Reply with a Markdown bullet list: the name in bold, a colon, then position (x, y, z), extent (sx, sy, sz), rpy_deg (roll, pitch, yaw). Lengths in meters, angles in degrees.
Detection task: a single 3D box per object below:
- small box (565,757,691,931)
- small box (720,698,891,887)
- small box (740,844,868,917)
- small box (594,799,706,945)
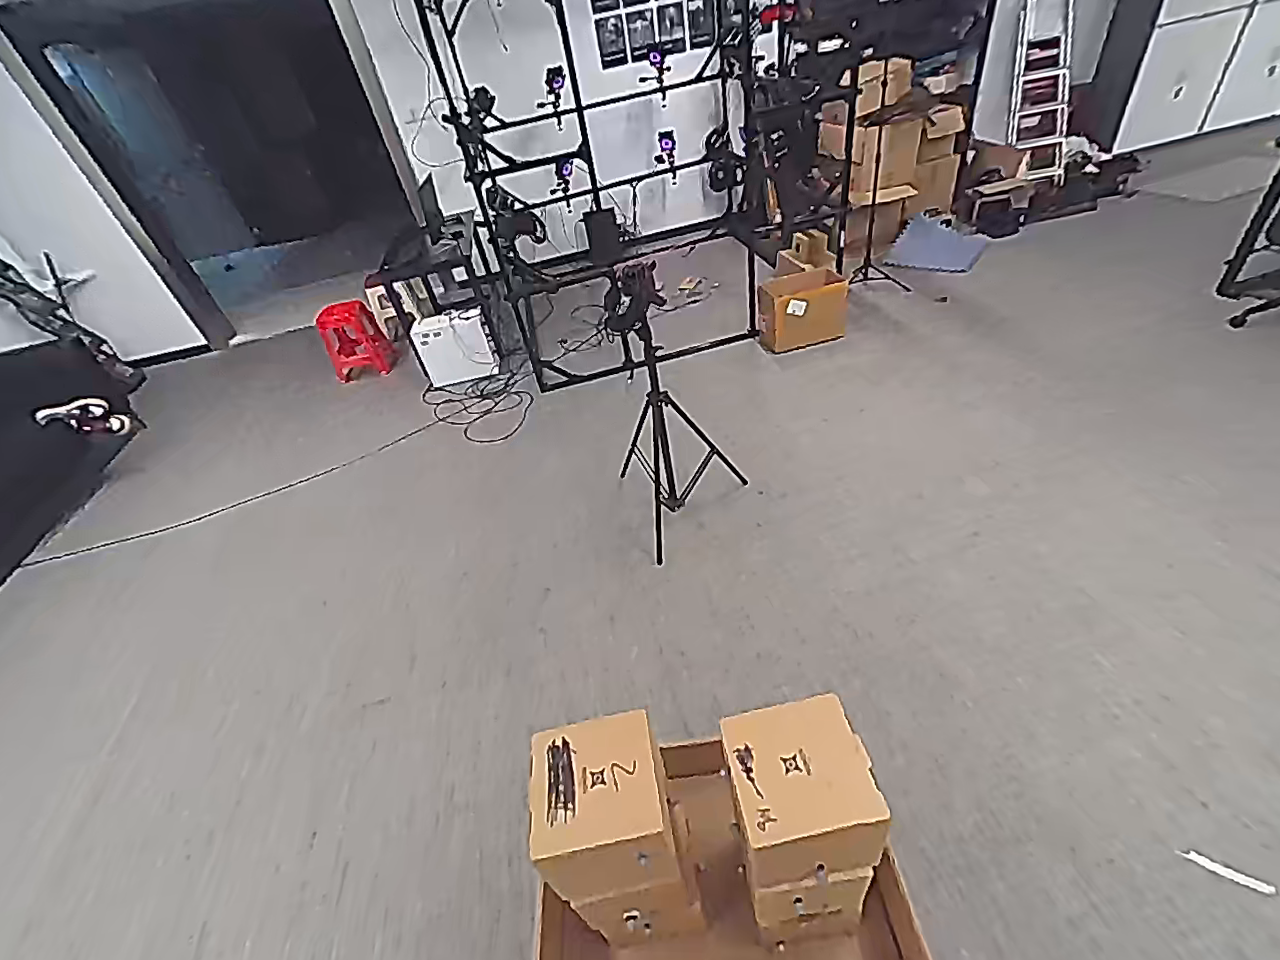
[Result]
- **small box**: position (-0.021, 0.593, 0.883), extent (0.168, 0.176, 0.179), rpy_deg (-14, 39, 0)
- **small box**: position (0.217, 0.436, 0.755), extent (0.179, 0.176, 0.168), rpy_deg (-12, 38, 0)
- **small box**: position (0.242, 0.563, 0.856), extent (0.168, 0.176, 0.179), rpy_deg (-11, 38, 2)
- **small box**: position (0.015, 0.717, 0.986), extent (0.179, 0.176, 0.168), rpy_deg (-11, 40, 0)
